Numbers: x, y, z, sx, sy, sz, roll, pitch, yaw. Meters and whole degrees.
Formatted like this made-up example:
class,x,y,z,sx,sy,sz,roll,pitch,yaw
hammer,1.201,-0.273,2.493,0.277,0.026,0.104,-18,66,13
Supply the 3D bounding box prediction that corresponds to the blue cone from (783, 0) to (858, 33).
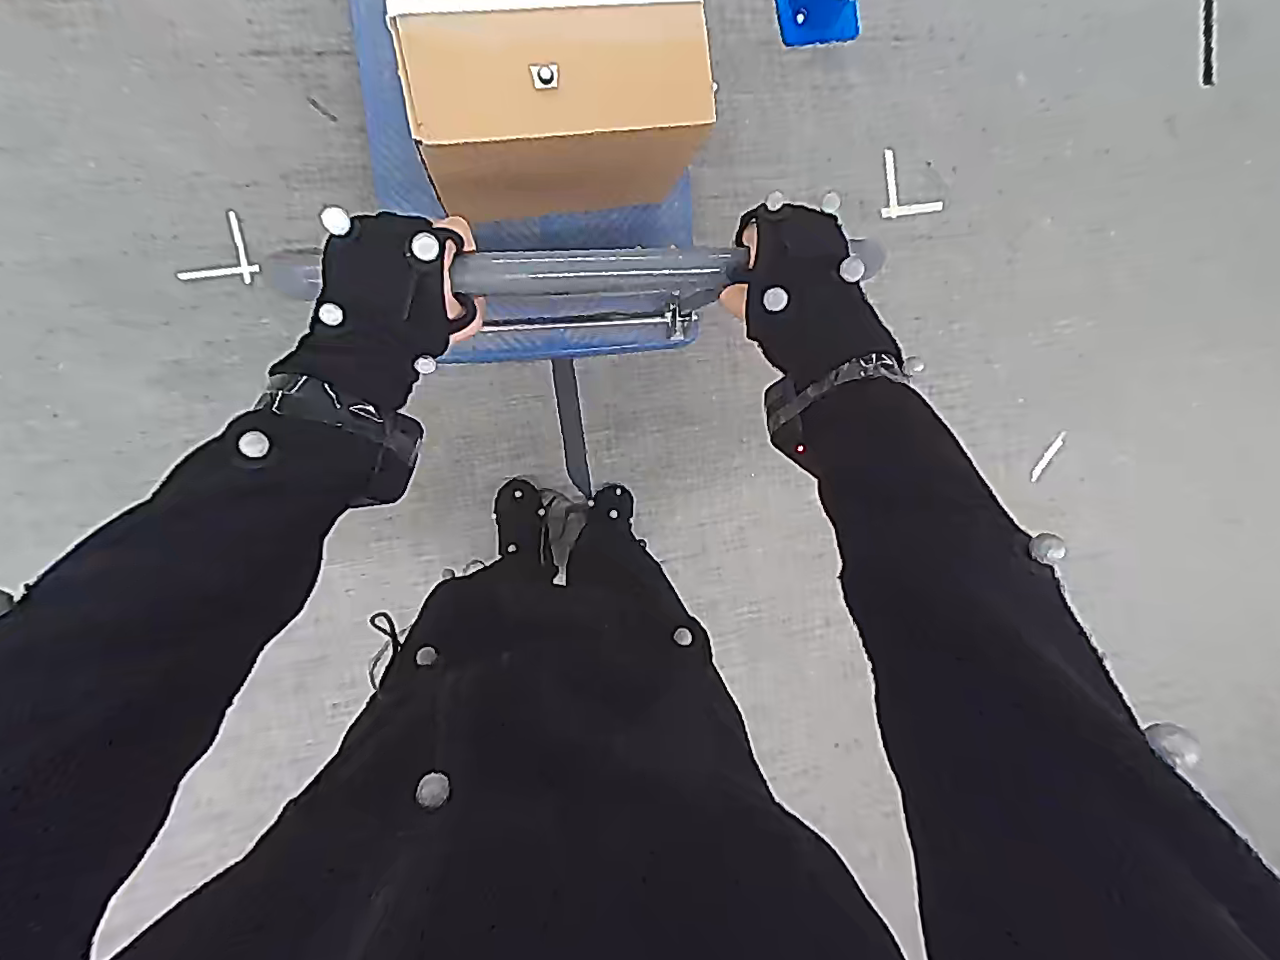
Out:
class,x,y,z,sx,sy,sz,roll,pitch,yaw
blue cone,0.433,-1.098,1.061,0.193,0.380,0.192,-13,99,-10
